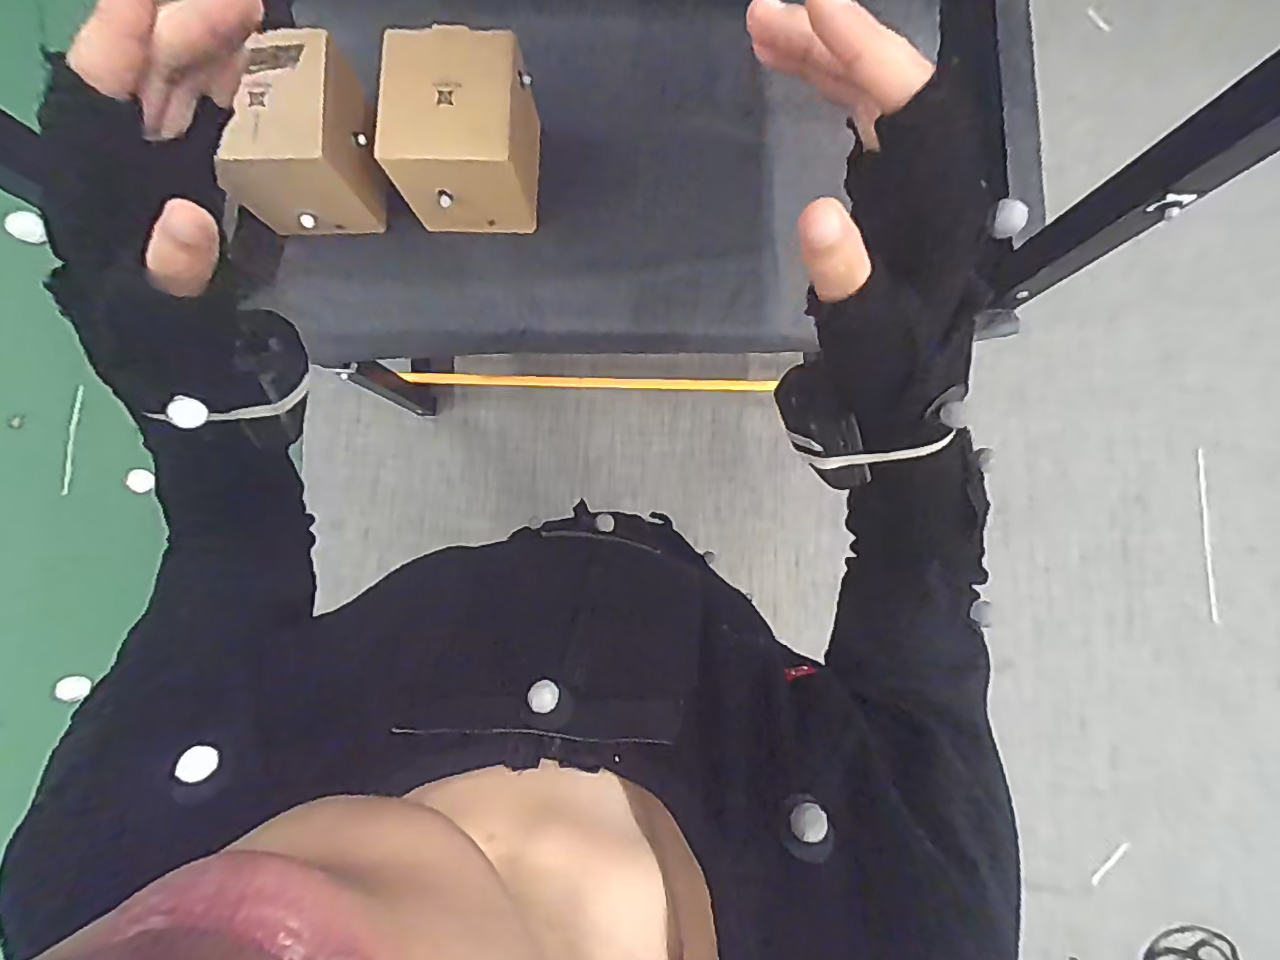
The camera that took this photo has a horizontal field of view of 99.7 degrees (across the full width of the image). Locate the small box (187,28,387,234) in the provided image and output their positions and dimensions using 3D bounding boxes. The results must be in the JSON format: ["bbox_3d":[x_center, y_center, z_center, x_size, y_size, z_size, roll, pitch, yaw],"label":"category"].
[{"bbox_3d":[-0.464,-0.465,0.739,0.168,0.176,0.179,-1,84,0],"label":"small box"}]

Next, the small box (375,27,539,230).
[{"bbox_3d":[-0.237,-0.466,0.741,0.168,0.176,0.179,1,83,0],"label":"small box"}]
